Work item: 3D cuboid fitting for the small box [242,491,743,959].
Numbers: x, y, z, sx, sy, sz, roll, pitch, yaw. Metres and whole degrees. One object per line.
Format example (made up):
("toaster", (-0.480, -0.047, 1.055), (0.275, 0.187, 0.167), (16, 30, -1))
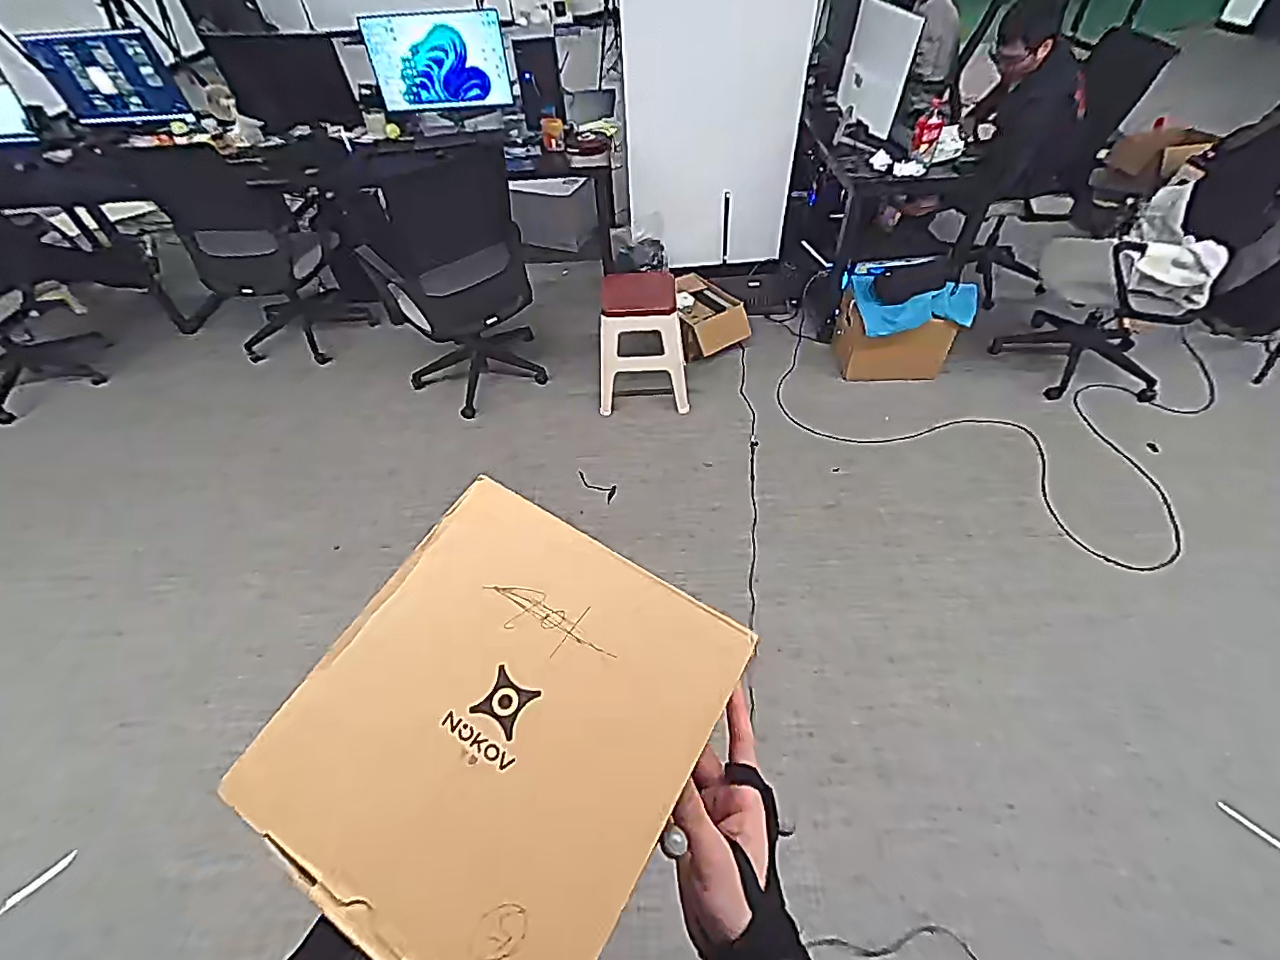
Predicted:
("small box", (-0.060, 0.144, 0.317), (0.168, 0.176, 0.179), (28, 65, 14))
